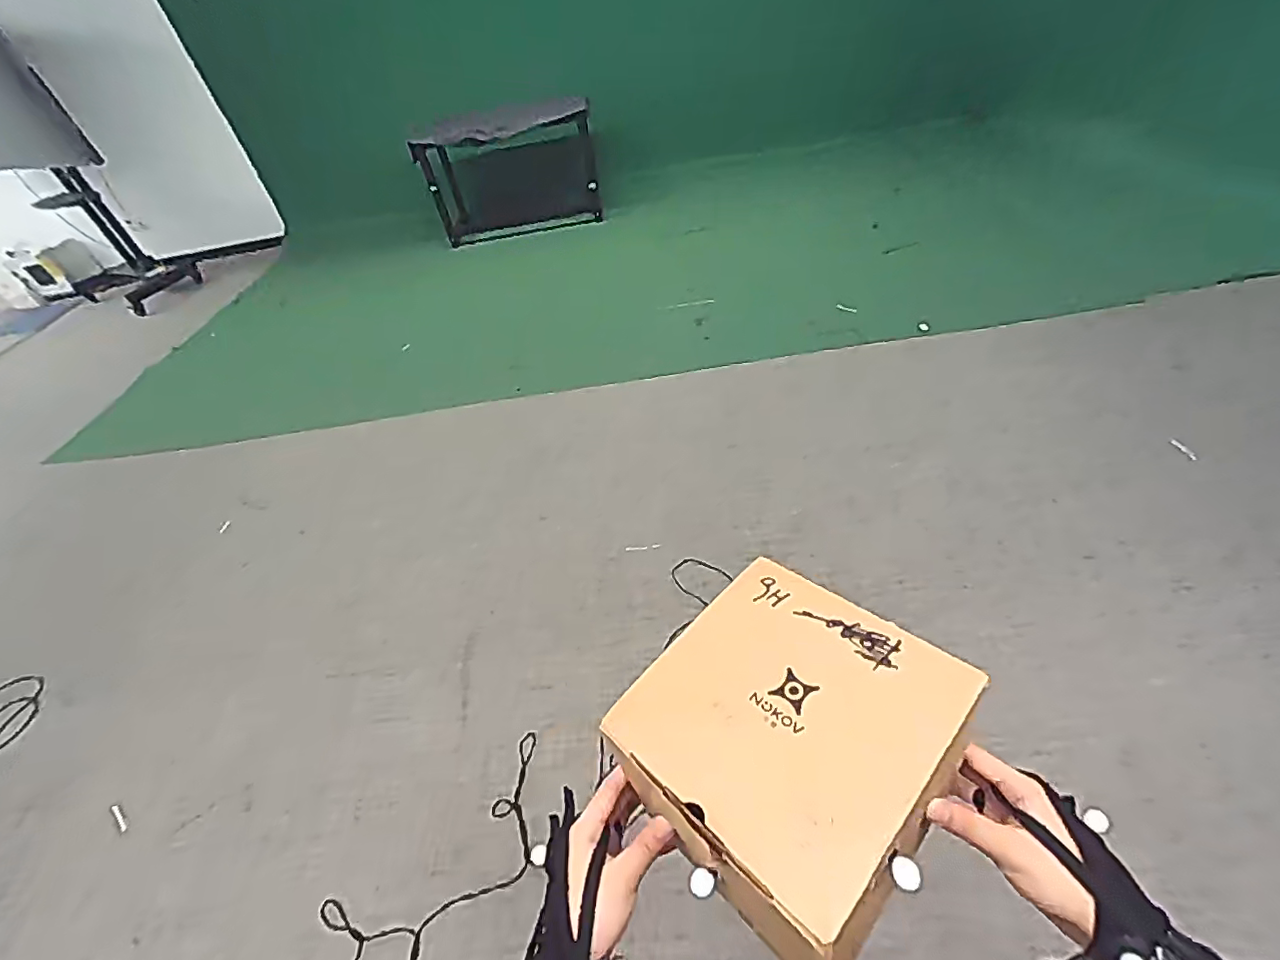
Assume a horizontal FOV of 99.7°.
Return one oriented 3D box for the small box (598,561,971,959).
[{"bbox_3d":[0.104,0.199,0.387,0.179,0.176,0.168,-39,44,-25],"label":"small box"}]
